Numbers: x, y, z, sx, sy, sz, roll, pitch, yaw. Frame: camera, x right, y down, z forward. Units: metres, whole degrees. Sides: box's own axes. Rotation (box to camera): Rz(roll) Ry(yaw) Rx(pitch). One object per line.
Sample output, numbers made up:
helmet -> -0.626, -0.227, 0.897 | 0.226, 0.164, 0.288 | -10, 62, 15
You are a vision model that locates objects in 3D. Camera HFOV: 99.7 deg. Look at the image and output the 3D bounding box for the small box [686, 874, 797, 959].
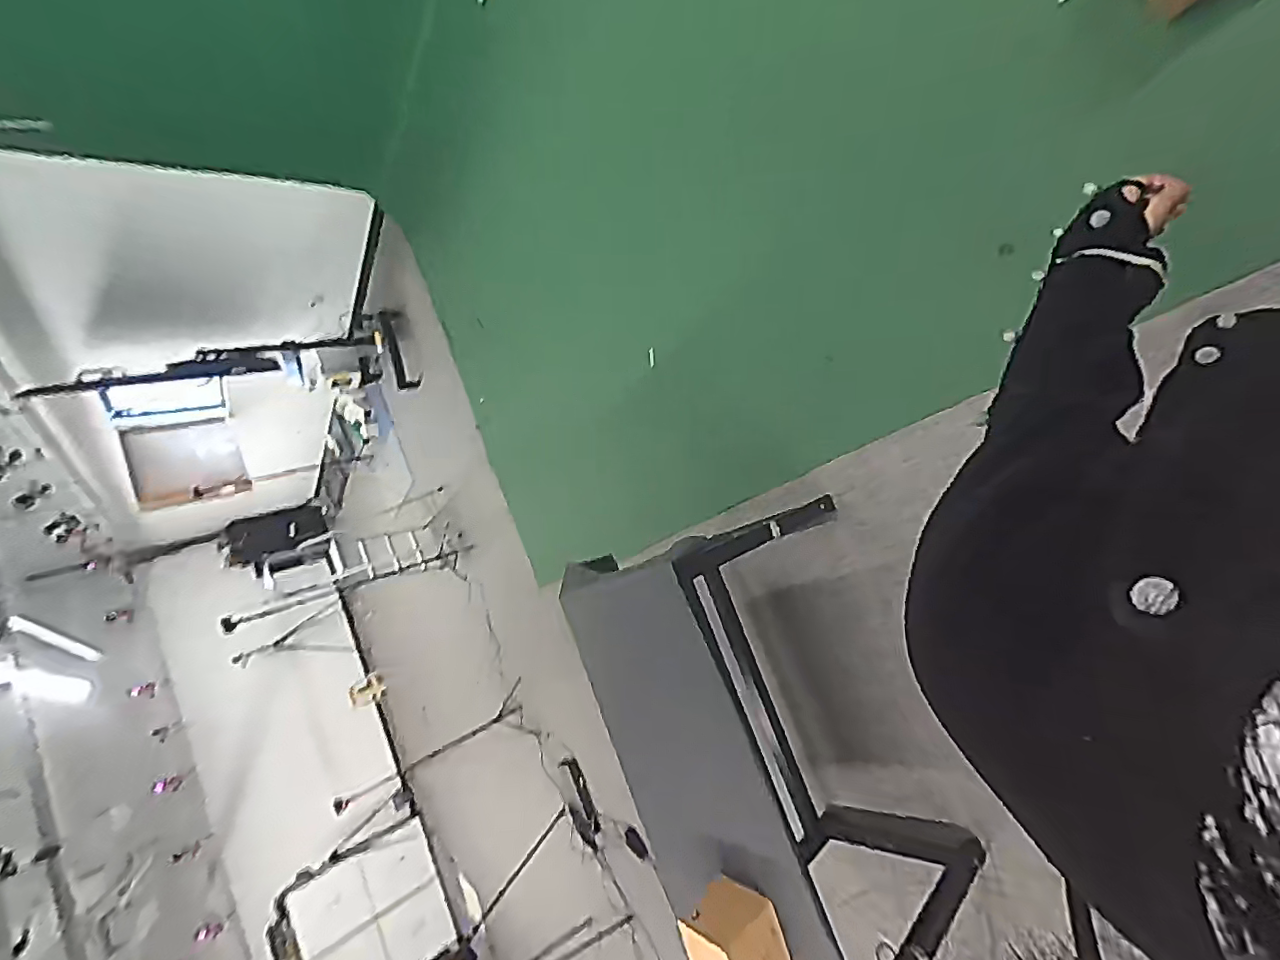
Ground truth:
small box -> 0.247, 1.087, 1.283 | 0.179, 0.176, 0.168 | -23, 85, 53
